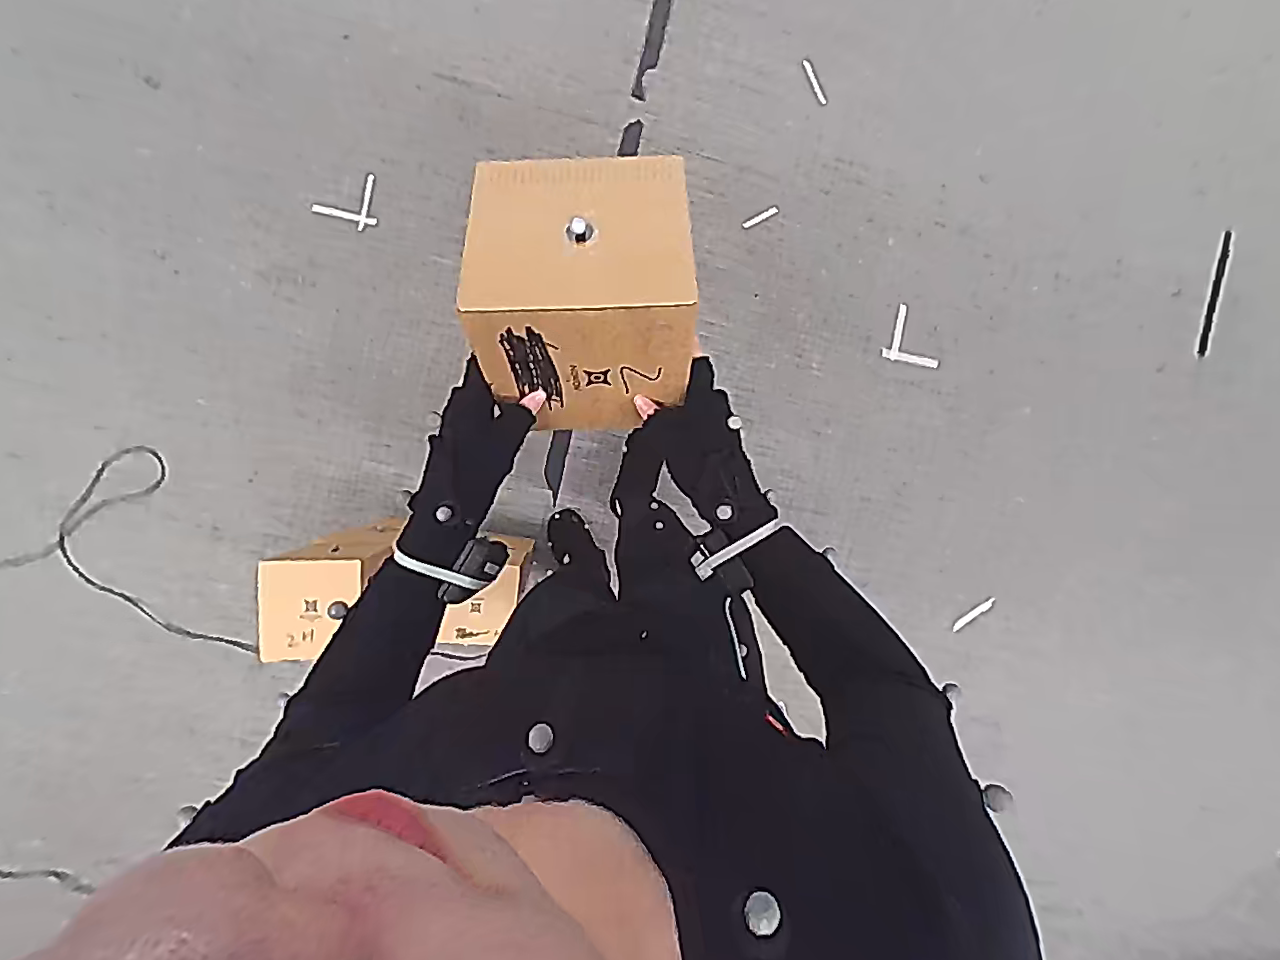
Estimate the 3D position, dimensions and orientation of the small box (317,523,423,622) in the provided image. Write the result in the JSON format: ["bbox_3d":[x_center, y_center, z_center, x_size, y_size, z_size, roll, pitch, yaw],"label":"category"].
[{"bbox_3d":[-0.578,0.194,1.169,0.168,0.176,0.179,4,92,-8],"label":"small box"}]

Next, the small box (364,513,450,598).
[{"bbox_3d":[-0.572,0.183,1.335,0.168,0.176,0.179,3,93,-7],"label":"small box"}]

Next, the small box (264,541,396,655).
[{"bbox_3d":[-0.566,0.210,1.005,0.168,0.176,0.179,0,93,-7],"label":"small box"}]

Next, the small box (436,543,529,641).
[{"bbox_3d":[-0.342,0.240,1.203,0.168,0.176,0.179,6,92,-7],"label":"small box"}]

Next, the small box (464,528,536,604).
[{"bbox_3d":[-0.361,0.225,1.365,0.168,0.176,0.179,10,93,-7],"label":"small box"}]
